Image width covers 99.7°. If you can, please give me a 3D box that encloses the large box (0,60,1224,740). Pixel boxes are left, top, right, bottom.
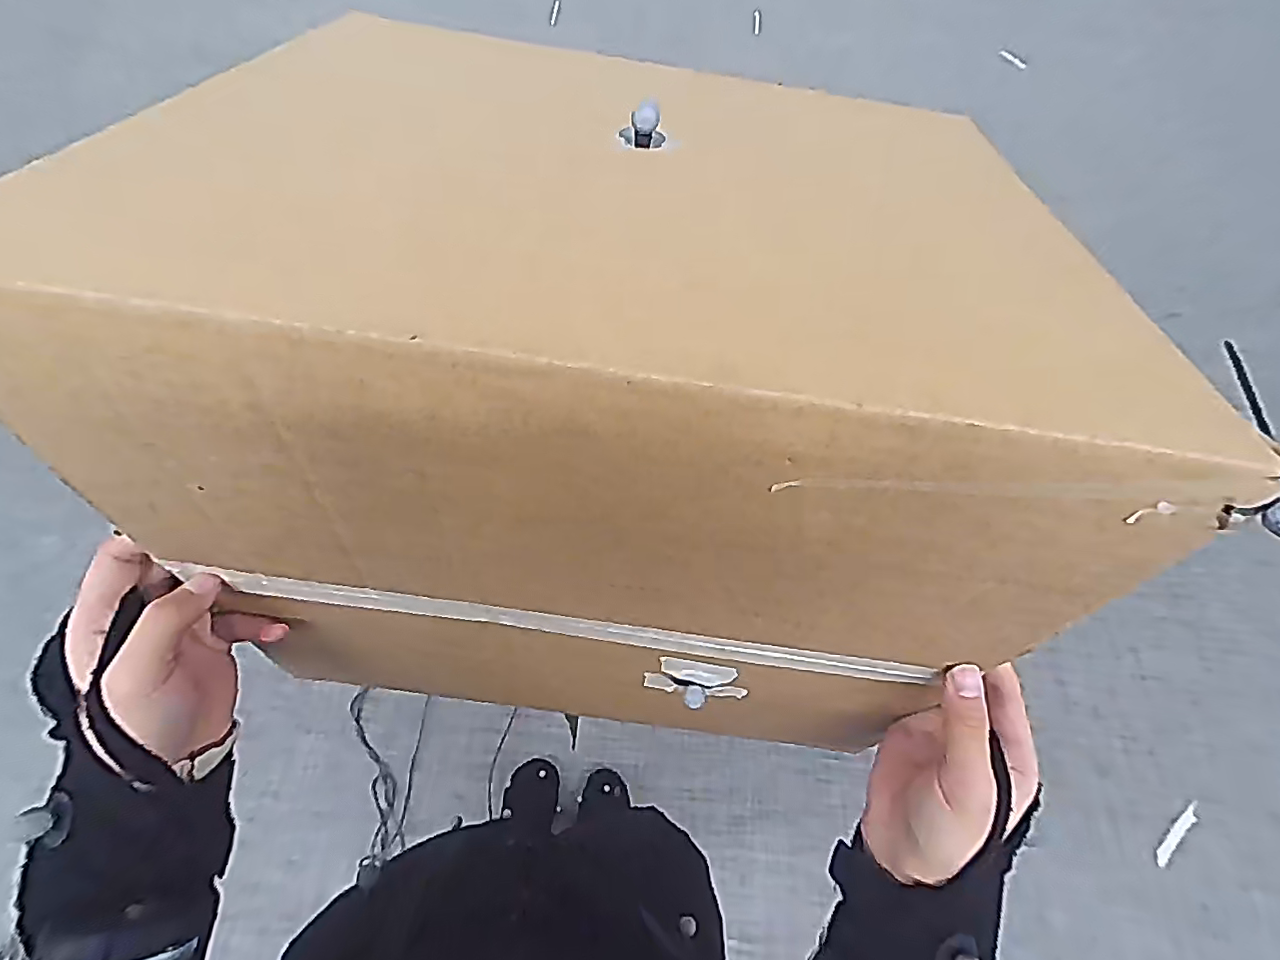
[{"bbox_3d":[-0.019,-0.046,0.372,0.408,0.320,0.320,7,51,-1],"label":"large box"}]
